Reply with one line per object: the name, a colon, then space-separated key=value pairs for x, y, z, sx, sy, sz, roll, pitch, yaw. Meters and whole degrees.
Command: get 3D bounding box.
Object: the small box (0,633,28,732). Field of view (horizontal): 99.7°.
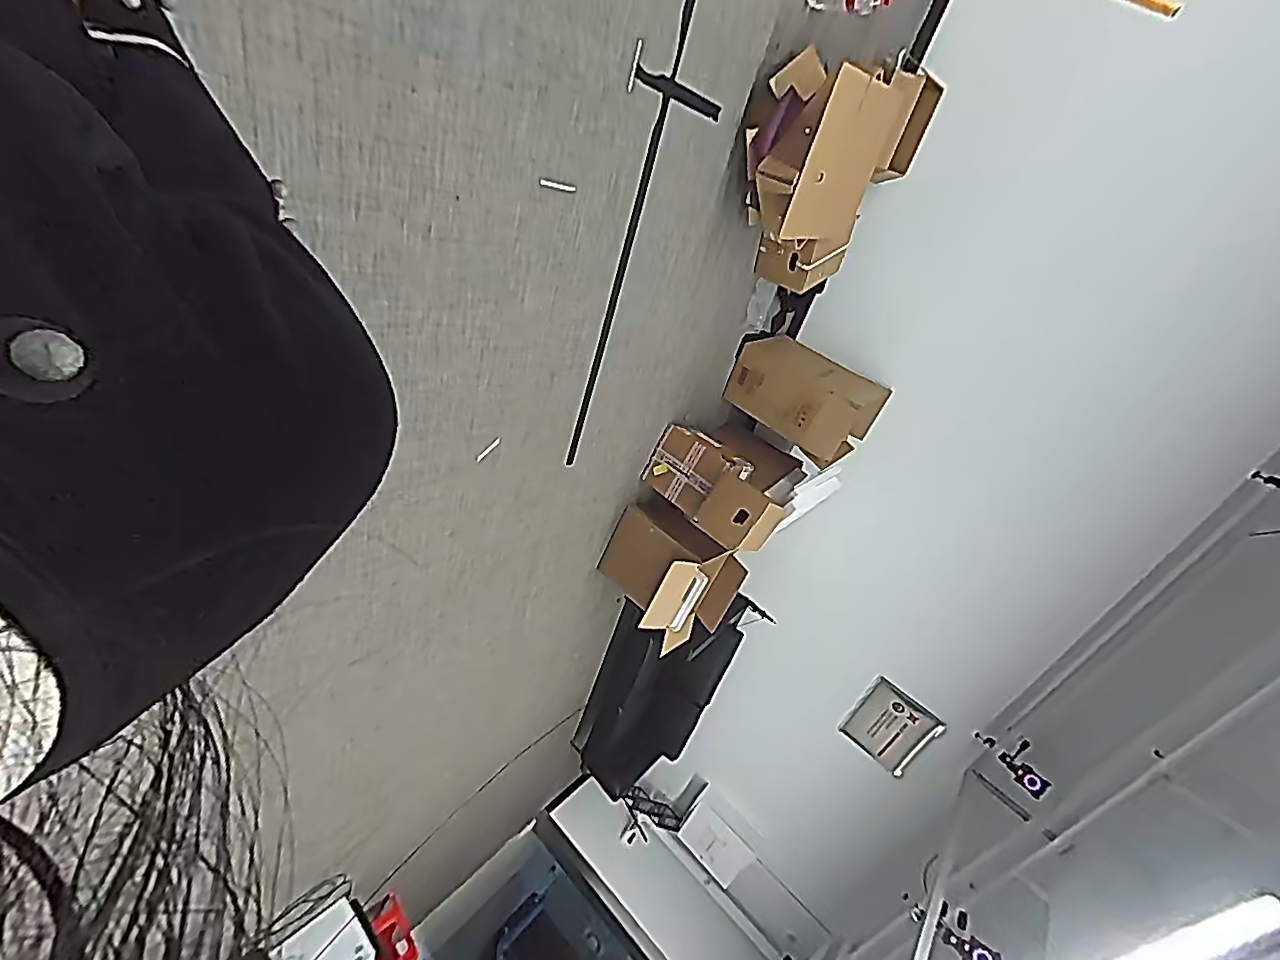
small box: x=-1.556 y=0.485 z=1.234 sx=0.179 sy=0.176 sz=0.168 roll=-16 pitch=135 yaw=-52
